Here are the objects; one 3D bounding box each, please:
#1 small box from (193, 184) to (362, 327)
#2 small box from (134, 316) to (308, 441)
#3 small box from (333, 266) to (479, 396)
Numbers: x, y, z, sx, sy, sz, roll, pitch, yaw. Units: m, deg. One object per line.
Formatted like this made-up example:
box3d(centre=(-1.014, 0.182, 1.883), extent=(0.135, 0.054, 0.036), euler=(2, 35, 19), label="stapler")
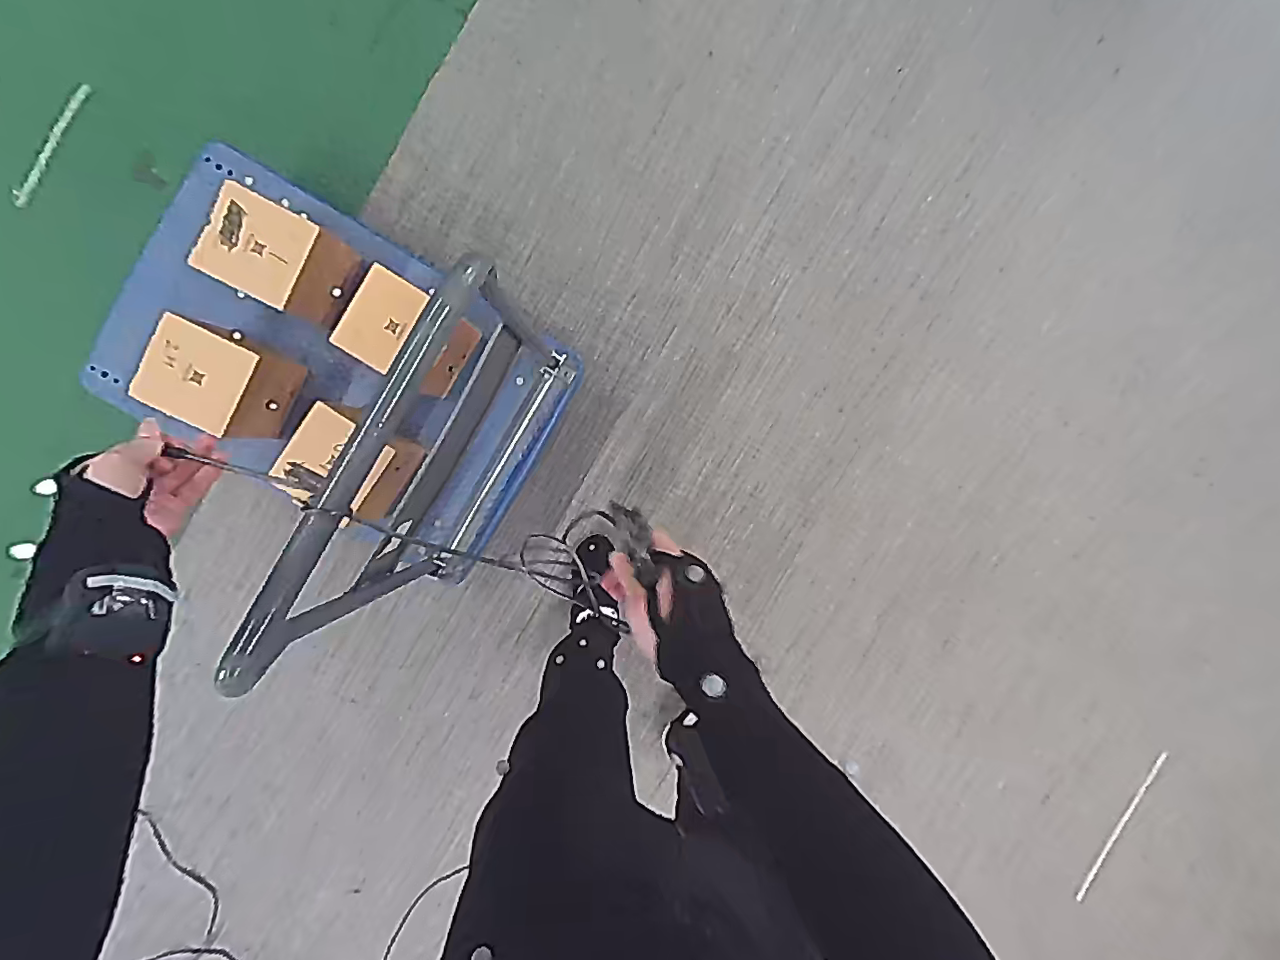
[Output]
box3d(centre=(-0.675, -0.411, 1.027), extent=(0.179, 0.176, 0.168), euler=(27, 93, -6), label="small box")
box3d(centre=(-0.786, -0.186, 1.037), extent=(0.179, 0.176, 0.168), euler=(27, 91, -5), label="small box")
box3d(centre=(-0.443, -0.275, 1.053), extent=(0.179, 0.176, 0.168), euler=(31, 92, -6), label="small box")
